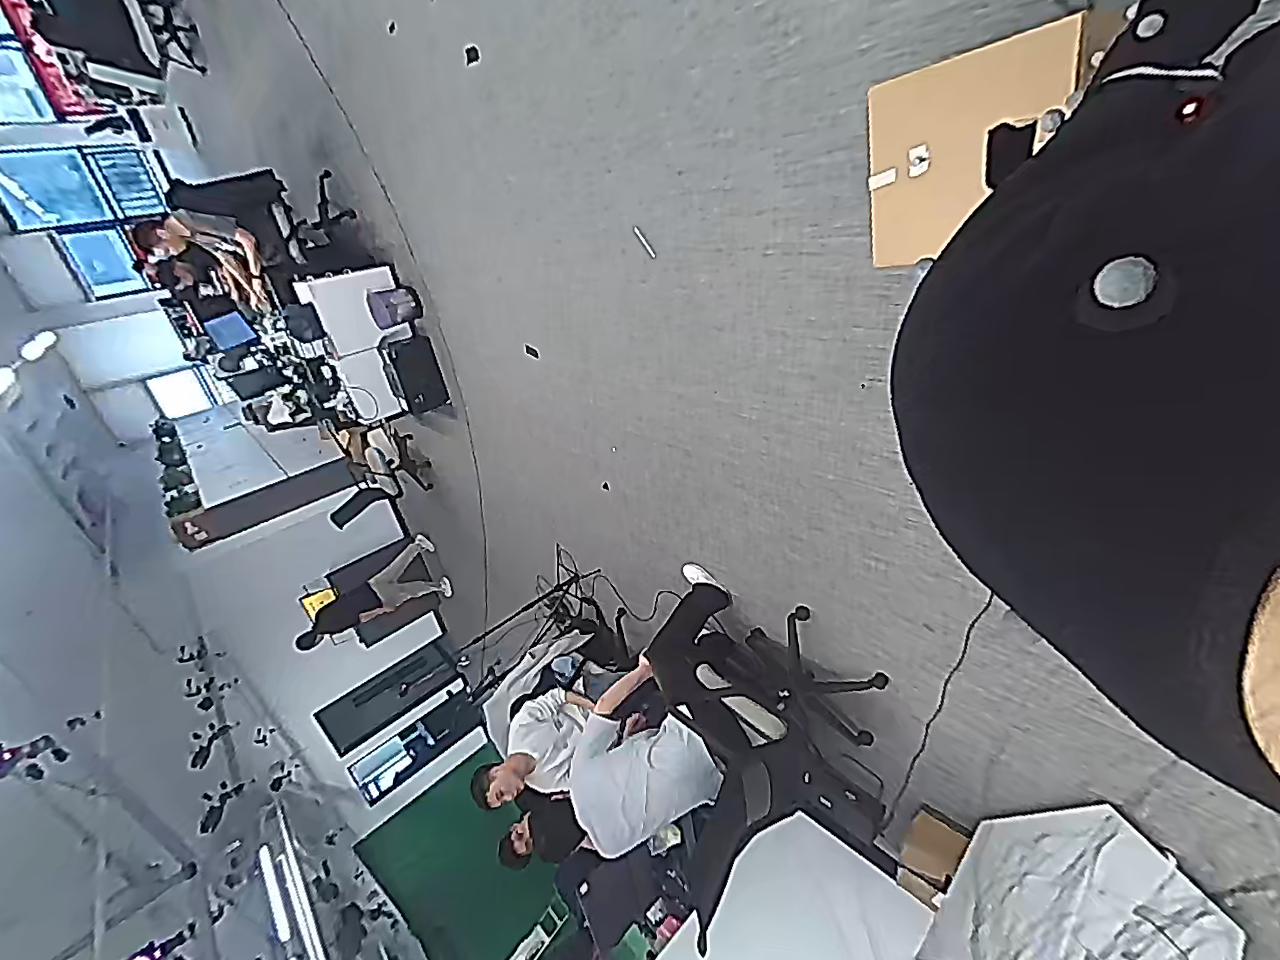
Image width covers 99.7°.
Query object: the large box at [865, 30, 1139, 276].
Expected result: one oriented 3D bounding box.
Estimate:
[{"bbox_3d":[0.678,-0.605,1.030,0.320,0.408,0.320,18,129,47],"label":"large box"}]
